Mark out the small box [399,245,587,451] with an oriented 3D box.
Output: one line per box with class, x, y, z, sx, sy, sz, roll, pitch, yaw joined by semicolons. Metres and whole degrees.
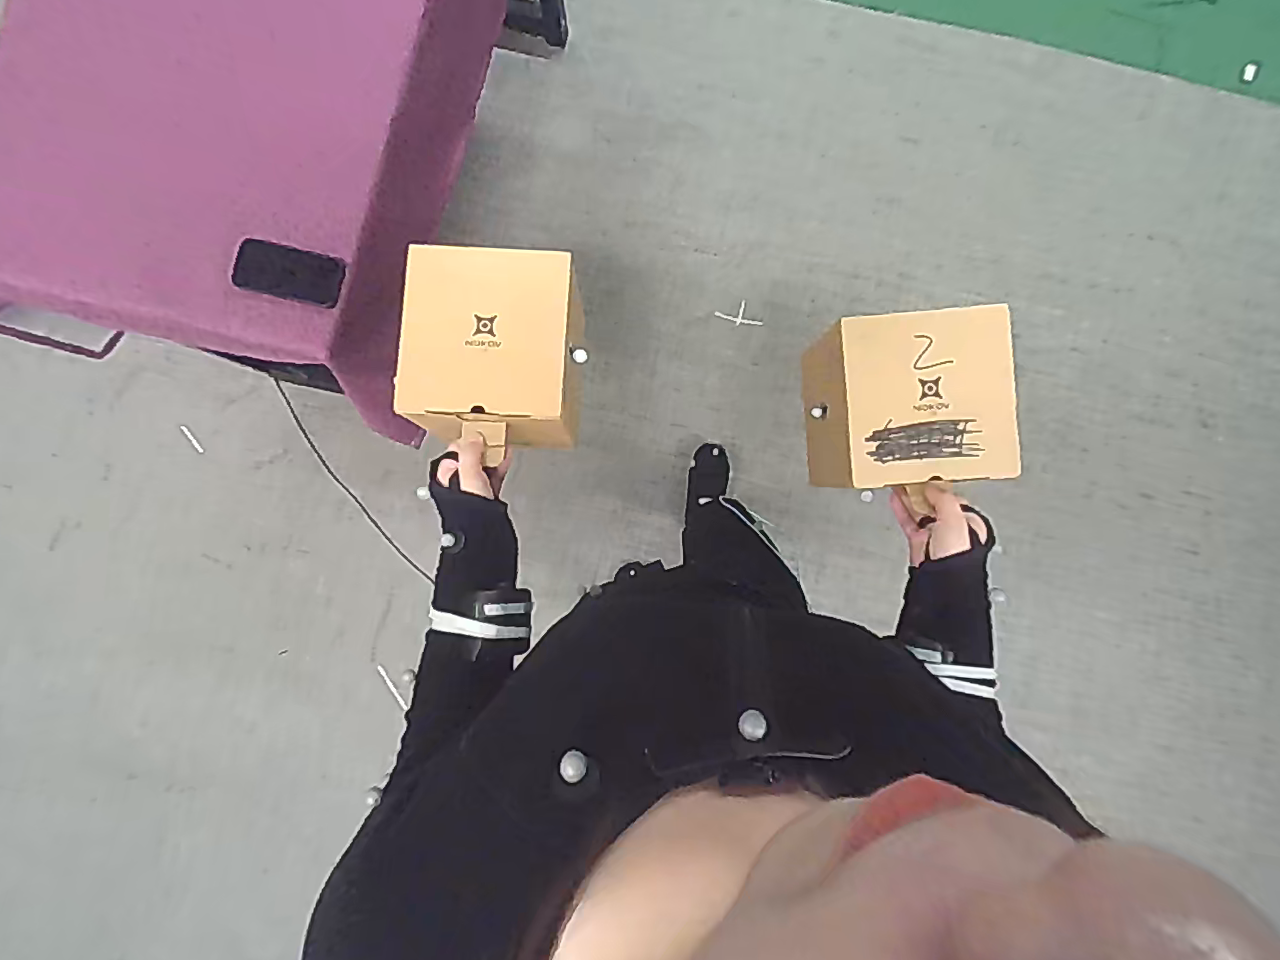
small box;-0.151;-0.138;0.616;0.168;0.176;0.179;3;84;-1
